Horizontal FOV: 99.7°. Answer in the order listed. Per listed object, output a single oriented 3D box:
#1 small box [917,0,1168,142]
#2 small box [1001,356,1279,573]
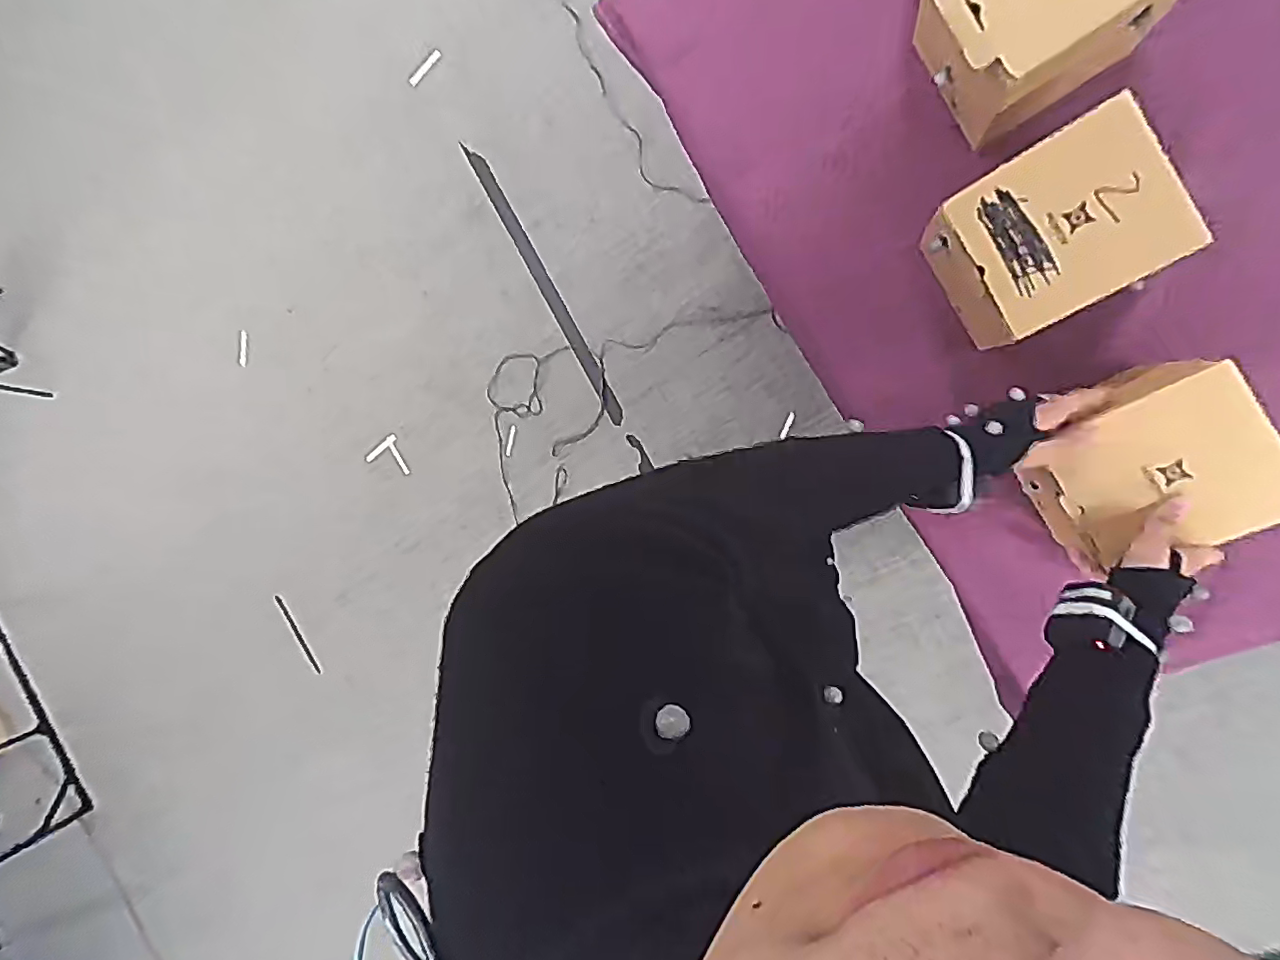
[{"bbox_3d":[0.425,-0.514,0.575,0.179,0.176,0.168,-28,89,23],"label":"small box"},{"bbox_3d":[0.557,-0.024,0.615,0.179,0.176,0.168,-30,88,23],"label":"small box"}]
